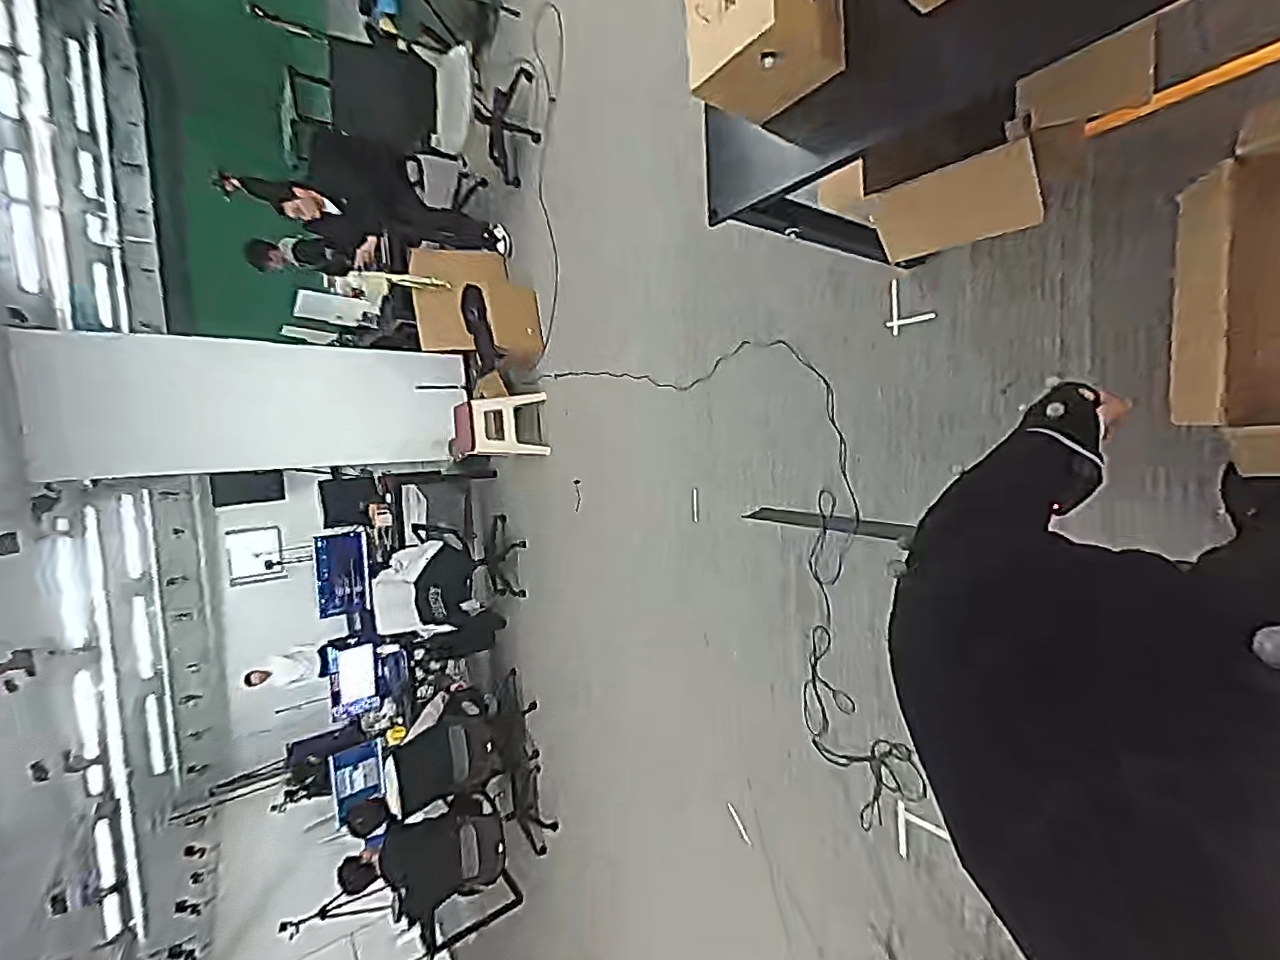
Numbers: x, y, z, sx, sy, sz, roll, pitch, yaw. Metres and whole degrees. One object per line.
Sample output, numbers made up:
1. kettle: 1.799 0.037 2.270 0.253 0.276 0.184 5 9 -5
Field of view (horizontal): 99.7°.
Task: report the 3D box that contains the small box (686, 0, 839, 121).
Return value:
1. small box: 0.193 -0.705 0.840 0.179 0.176 0.168 2 95 54
